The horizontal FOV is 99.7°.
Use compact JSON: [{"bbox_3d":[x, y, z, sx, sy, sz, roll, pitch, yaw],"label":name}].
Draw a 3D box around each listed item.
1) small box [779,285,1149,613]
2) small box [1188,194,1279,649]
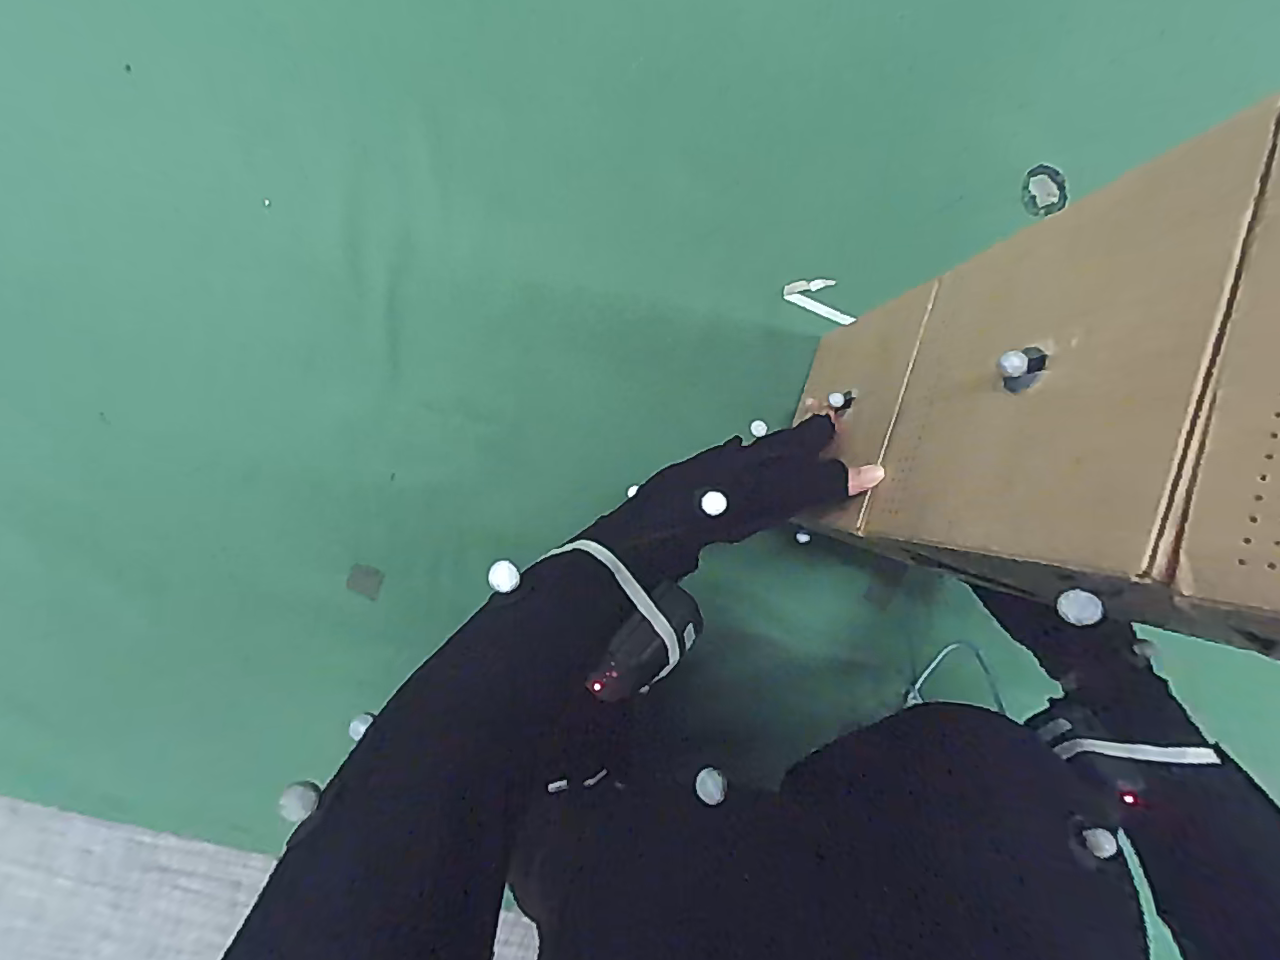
[{"bbox_3d":[0.230,-0.018,0.431,0.168,0.176,0.179,19,87,-7],"label":"small box"},{"bbox_3d":[0.277,-0.019,0.107,0.168,0.176,0.179,17,88,-8],"label":"small box"}]
